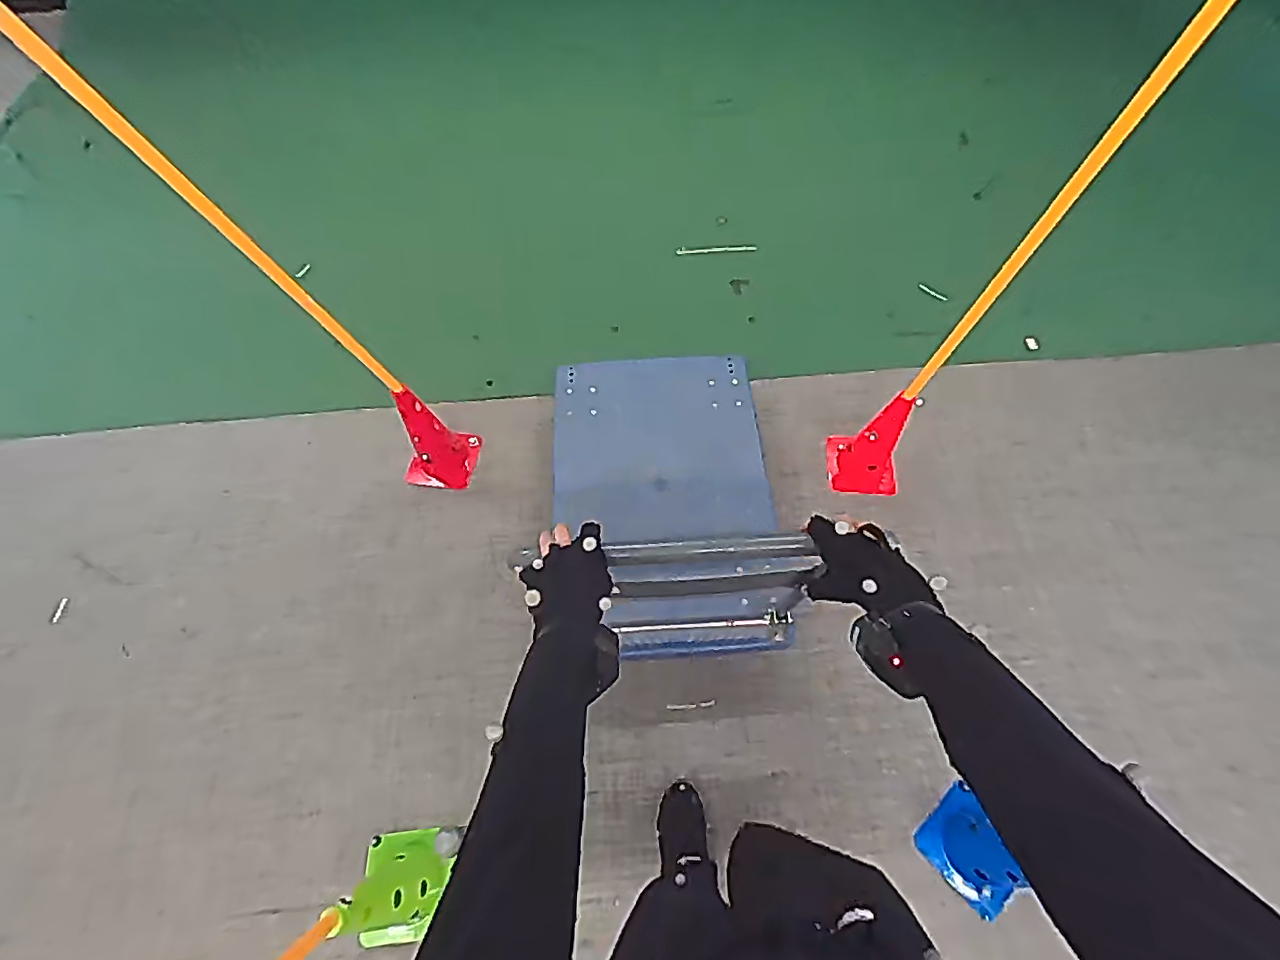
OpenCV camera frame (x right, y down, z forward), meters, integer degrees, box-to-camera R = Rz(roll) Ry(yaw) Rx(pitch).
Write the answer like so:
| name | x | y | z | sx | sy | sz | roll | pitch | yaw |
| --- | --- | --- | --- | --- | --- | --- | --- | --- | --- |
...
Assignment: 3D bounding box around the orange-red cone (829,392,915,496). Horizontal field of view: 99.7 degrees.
| name | x | y | z | sx | sy | sz | roll | pitch | yaw |
| --- | --- | --- | --- | --- | --- | --- | --- | --- | --- |
| orange-red cone | 0.679 | -0.123 | 1.512 | 0.198 | 0.360 | 0.199 | 5 | 62 | 5 |
